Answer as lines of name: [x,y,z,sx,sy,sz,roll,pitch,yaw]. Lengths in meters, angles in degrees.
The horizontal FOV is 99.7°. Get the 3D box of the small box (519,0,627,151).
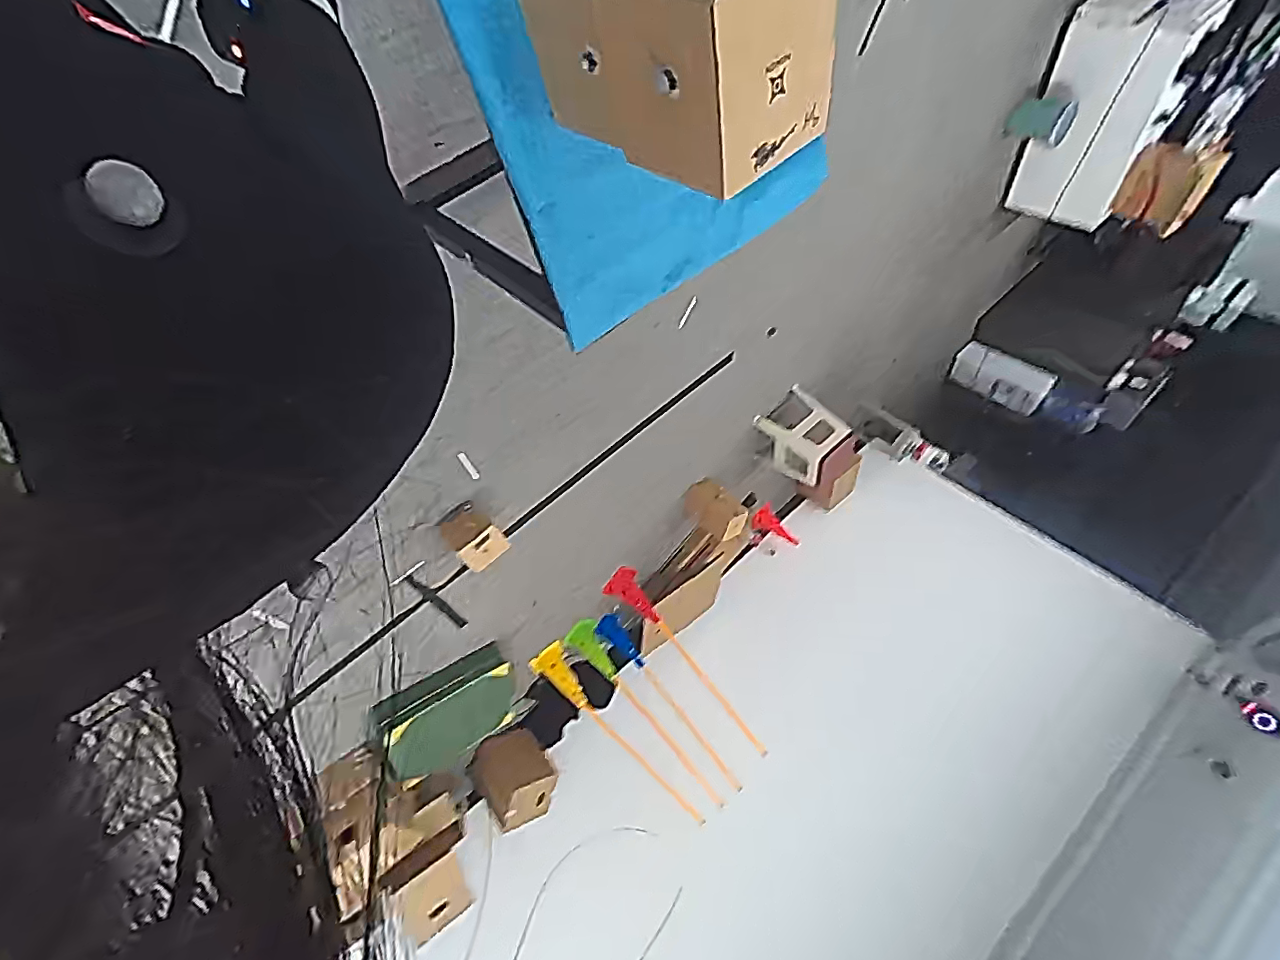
small box: [-0.023,-0.531,0.643,0.168,0.176,0.179,-39,146,-14]

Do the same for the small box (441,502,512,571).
small box: [-0.622,0.207,2.051,0.168,0.176,0.179,-40,148,-14]

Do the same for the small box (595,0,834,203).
small box: [0.077,-0.432,0.561,0.168,0.176,0.179,-42,148,-11]
